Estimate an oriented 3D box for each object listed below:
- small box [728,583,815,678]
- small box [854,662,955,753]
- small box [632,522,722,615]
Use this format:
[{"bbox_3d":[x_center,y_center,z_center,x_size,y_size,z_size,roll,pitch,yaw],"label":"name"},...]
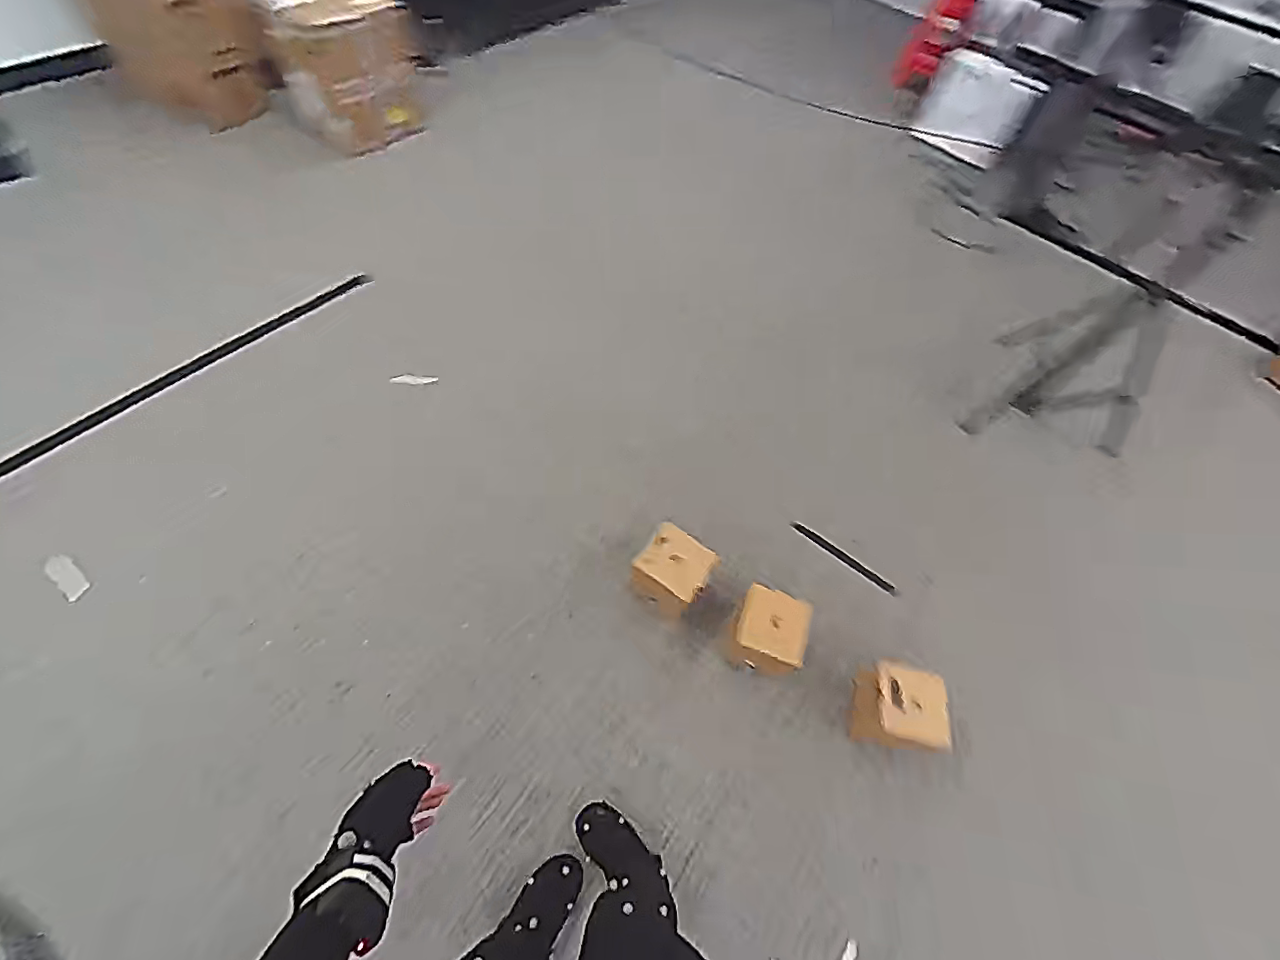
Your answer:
[{"bbox_3d":[0.348,0.408,1.454,0.168,0.176,0.179,20,58,5],"label":"small box"},{"bbox_3d":[0.669,0.589,1.387,0.179,0.176,0.168,16,58,0],"label":"small box"},{"bbox_3d":[0.098,0.257,1.511,0.179,0.176,0.168,36,60,14],"label":"small box"}]
